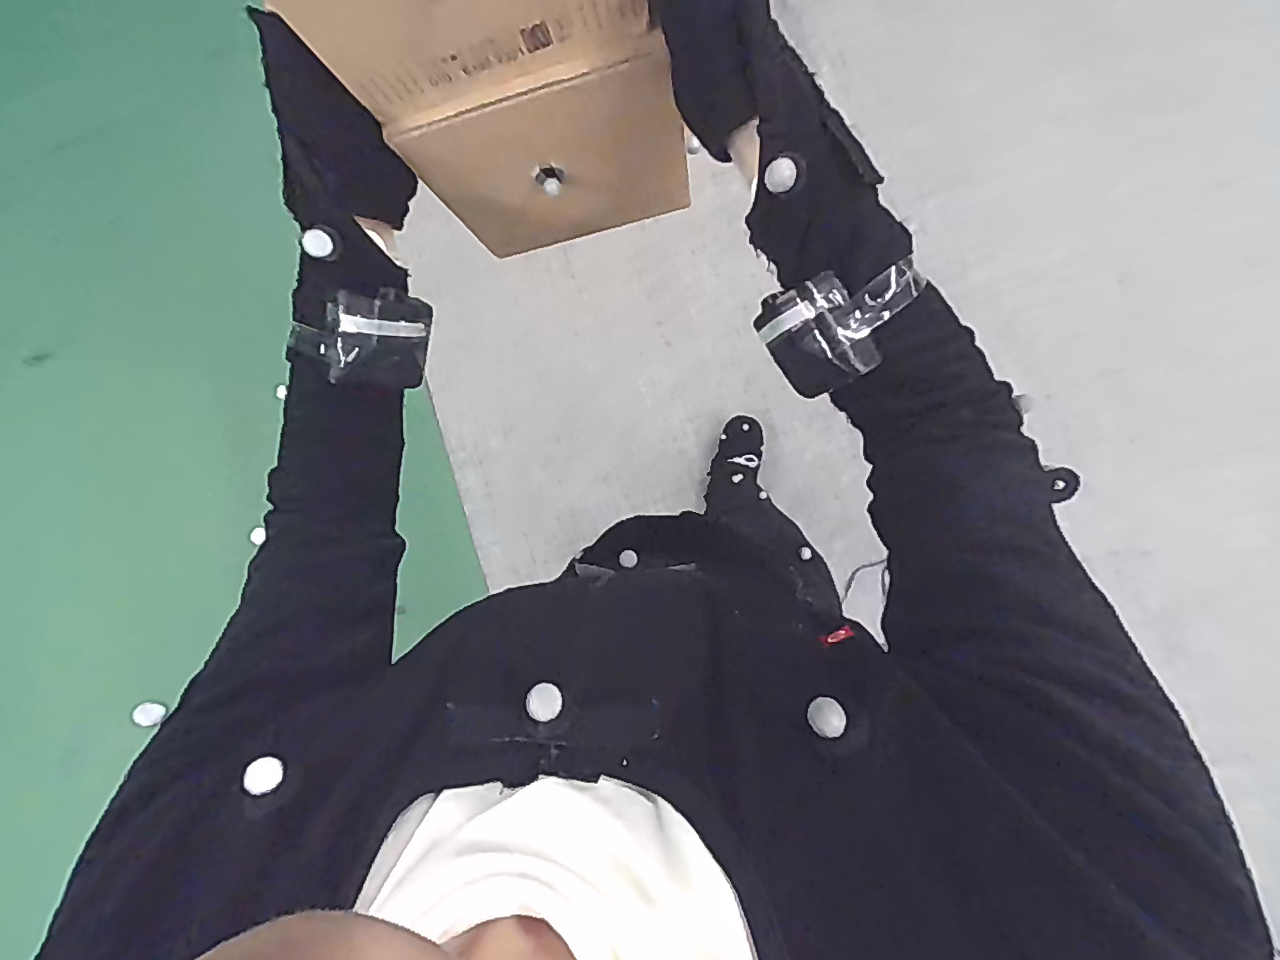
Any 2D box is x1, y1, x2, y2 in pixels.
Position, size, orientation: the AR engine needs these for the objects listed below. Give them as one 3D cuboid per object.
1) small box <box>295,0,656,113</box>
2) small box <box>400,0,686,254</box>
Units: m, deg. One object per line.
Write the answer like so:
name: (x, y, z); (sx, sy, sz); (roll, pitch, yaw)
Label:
small box: (-0.098, -0.317, 0.253); (0.168, 0.176, 0.179); (-15, 86, 10)
small box: (-0.063, -0.300, 0.409); (0.179, 0.176, 0.168); (-11, 86, 9)
